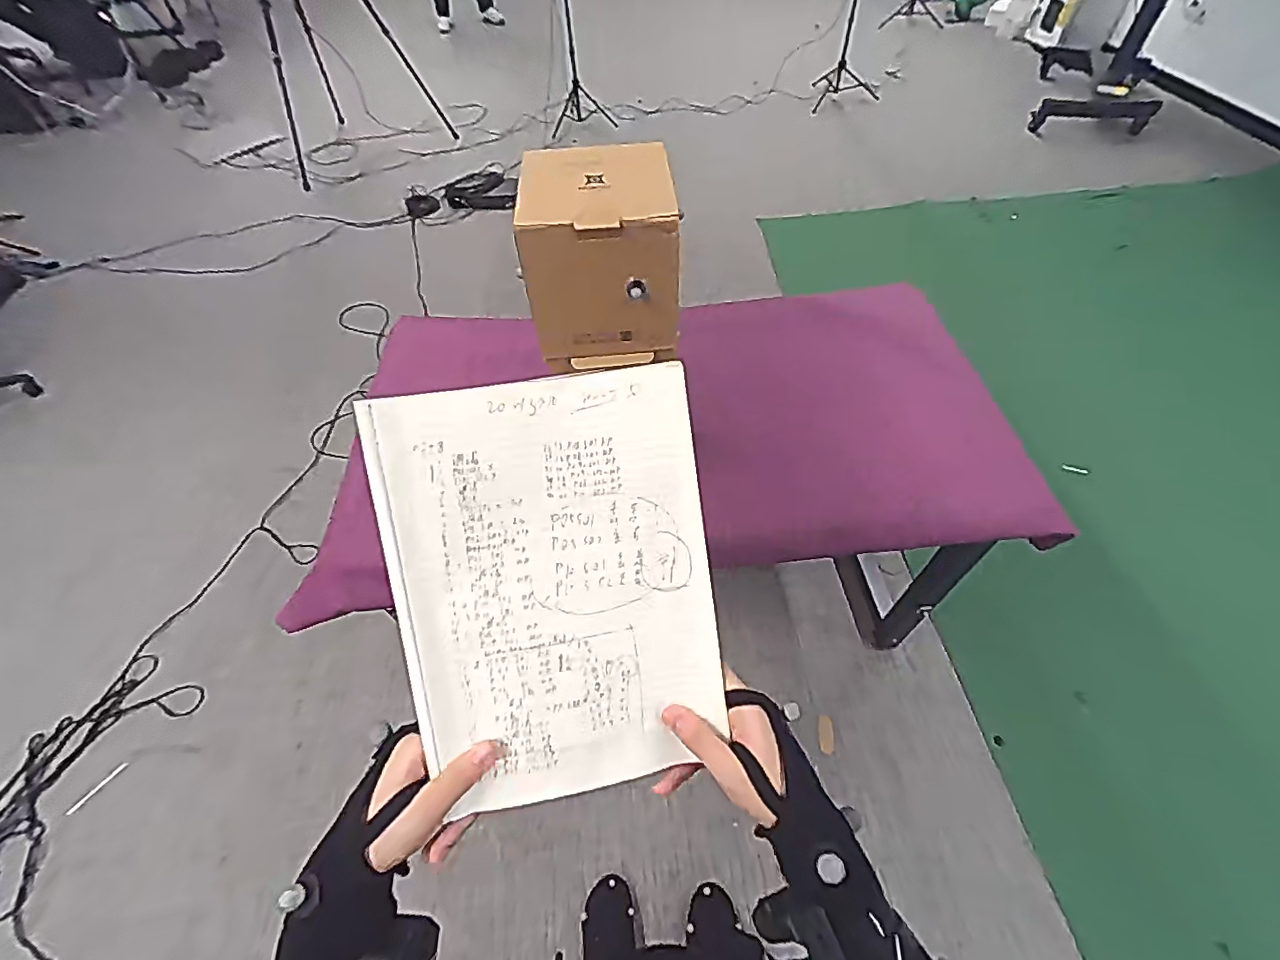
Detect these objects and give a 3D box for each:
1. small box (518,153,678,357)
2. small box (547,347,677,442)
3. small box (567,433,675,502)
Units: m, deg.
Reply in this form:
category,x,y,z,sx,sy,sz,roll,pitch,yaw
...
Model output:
category,x,y,z,sx,sy,sz,roll,pitch,yaw
small box,-0.042,-0.263,0.651,0.168,0.176,0.179,-4,52,-1
small box,-0.036,-0.168,0.783,0.168,0.176,0.179,-5,52,0
small box,-0.029,-0.073,0.918,0.168,0.176,0.179,-5,53,-1
